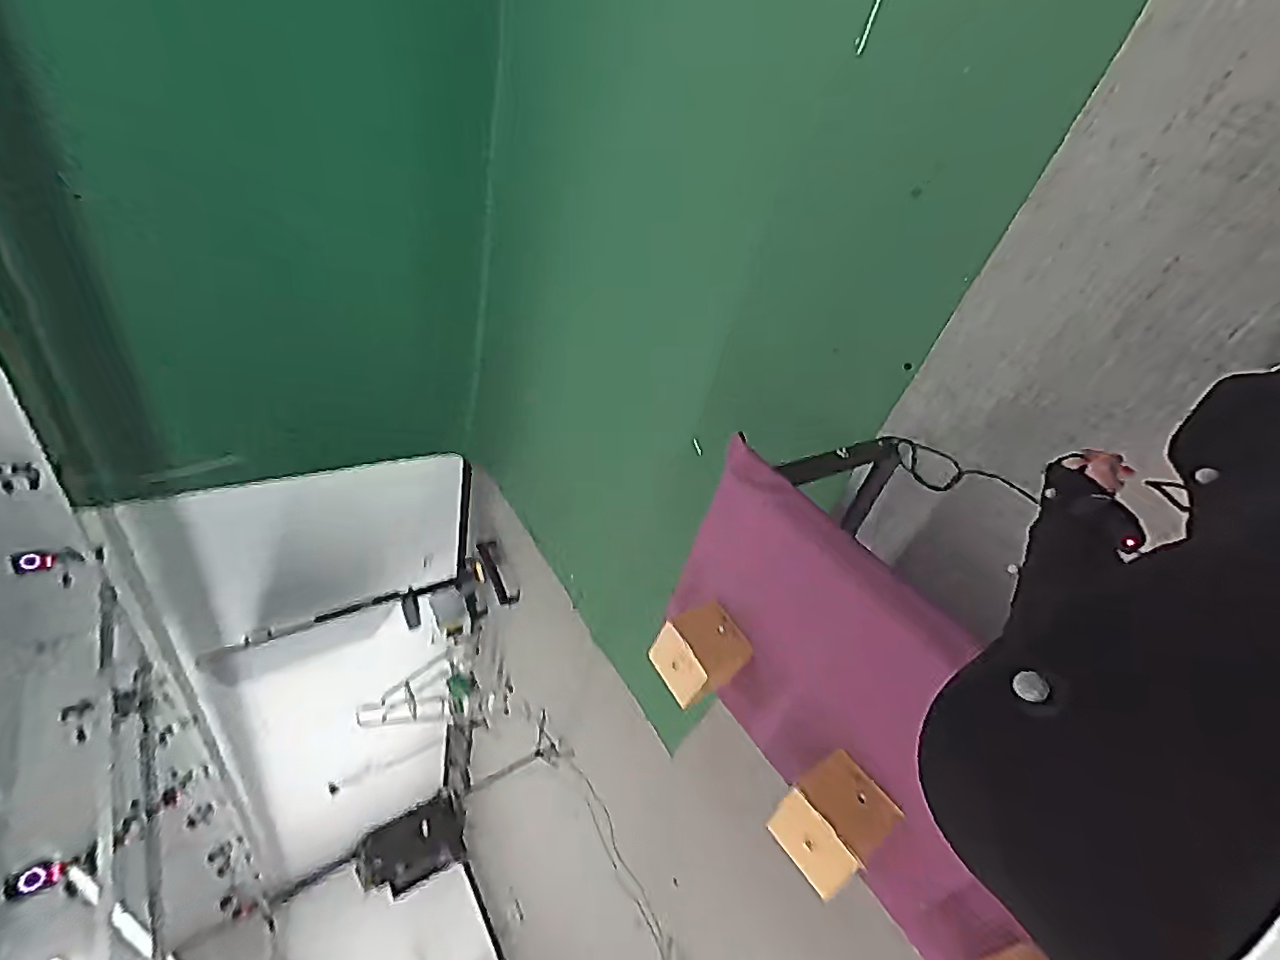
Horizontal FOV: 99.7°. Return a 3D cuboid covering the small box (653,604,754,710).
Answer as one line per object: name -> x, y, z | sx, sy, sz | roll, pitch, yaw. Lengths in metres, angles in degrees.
small box -> 0.165, 0.453, 1.398 | 0.168, 0.176, 0.179 | 51, 136, 30

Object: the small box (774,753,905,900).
small box -> 0.422, 0.724, 1.143 | 0.168, 0.176, 0.179 | 42, 131, 38
